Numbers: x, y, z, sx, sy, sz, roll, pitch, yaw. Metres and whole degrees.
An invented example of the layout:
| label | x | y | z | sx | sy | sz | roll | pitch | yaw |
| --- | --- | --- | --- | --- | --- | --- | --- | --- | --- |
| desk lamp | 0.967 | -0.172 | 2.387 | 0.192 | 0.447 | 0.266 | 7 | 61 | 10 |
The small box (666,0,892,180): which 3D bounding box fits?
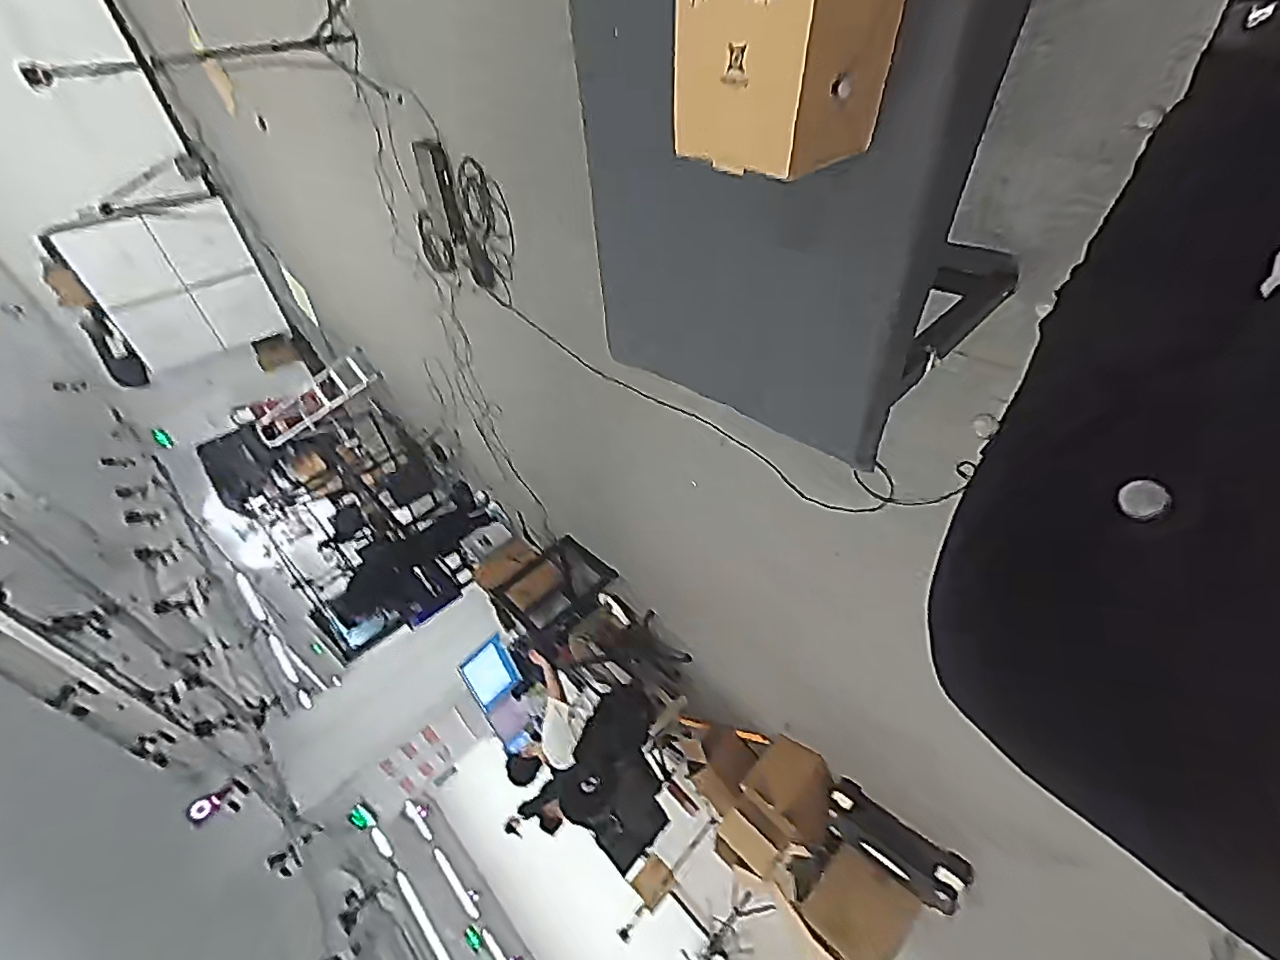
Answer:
| label | x | y | z | sx | sy | sz | roll | pitch | yaw |
| --- | --- | --- | --- | --- | --- | --- | --- | --- | --- |
| small box | 0.144 | -0.455 | 0.584 | 0.168 | 0.176 | 0.179 | 35 | 146 | 31 |
